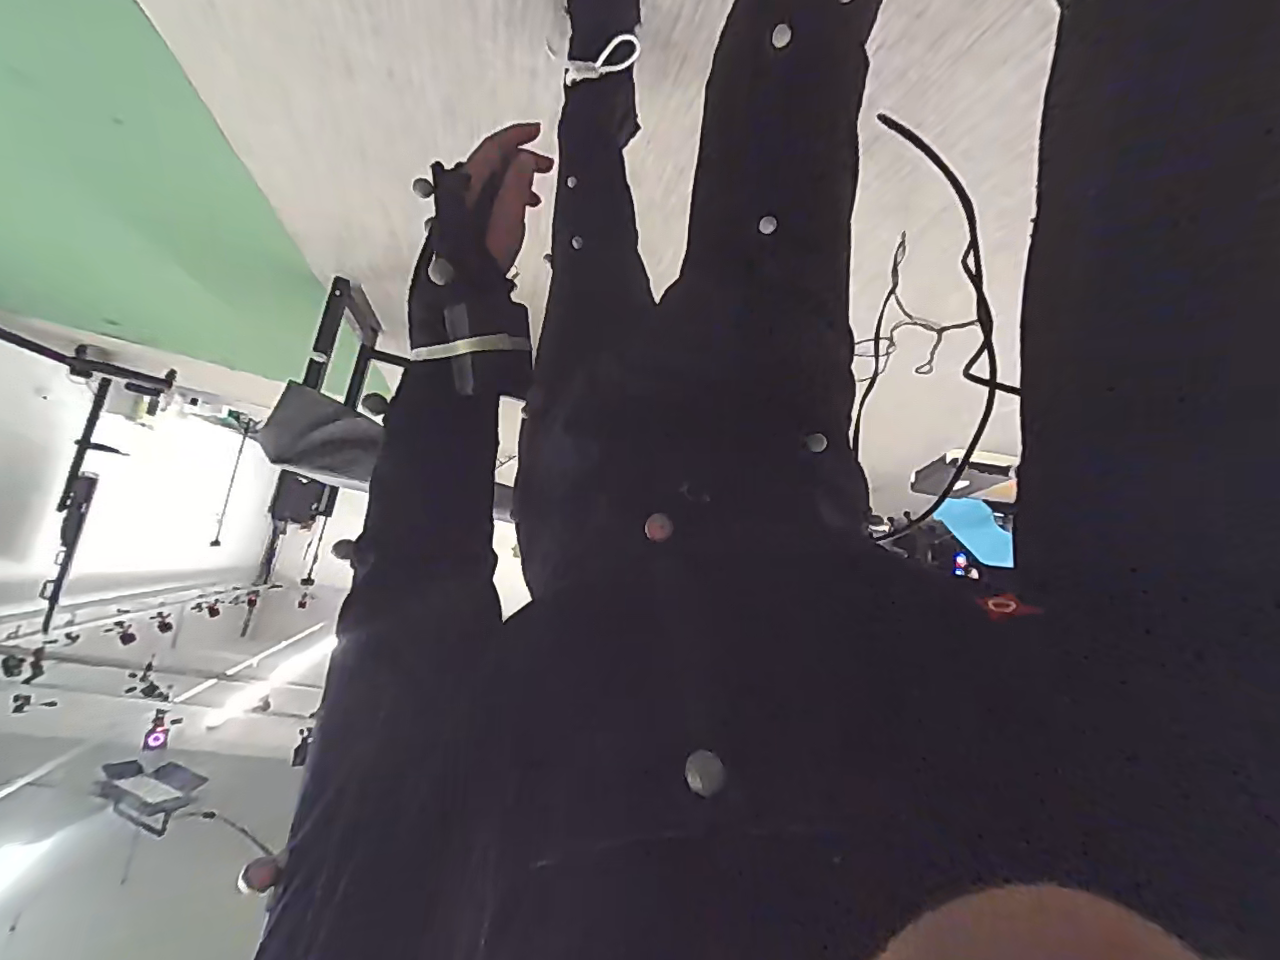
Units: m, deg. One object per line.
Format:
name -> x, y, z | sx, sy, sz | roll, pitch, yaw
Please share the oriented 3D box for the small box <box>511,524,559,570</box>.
small box -> -0.451, 0.286, 2.320 | 0.168, 0.176, 0.179 | 13, 171, -13
